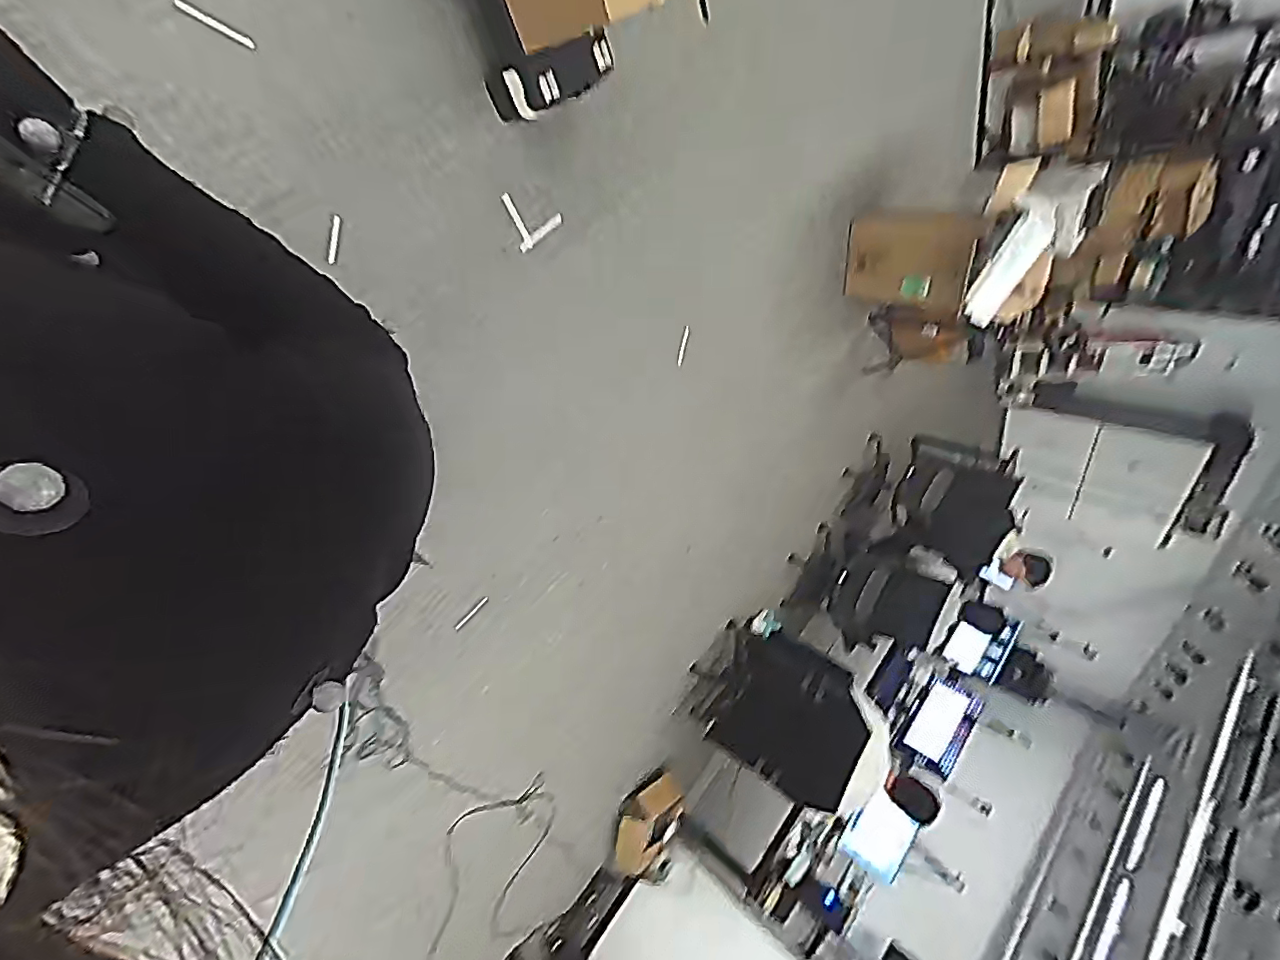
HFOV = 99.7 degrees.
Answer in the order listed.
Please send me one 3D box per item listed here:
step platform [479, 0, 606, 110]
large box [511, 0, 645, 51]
[{"bbox_3d":[-0.315,-1.253,1.202,0.286,0.204,0.684,-42,133,-25],"label":"step platform"},{"bbox_3d":[-0.124,-1.177,1.074,0.320,0.320,0.408,-46,134,-21],"label":"large box"}]
